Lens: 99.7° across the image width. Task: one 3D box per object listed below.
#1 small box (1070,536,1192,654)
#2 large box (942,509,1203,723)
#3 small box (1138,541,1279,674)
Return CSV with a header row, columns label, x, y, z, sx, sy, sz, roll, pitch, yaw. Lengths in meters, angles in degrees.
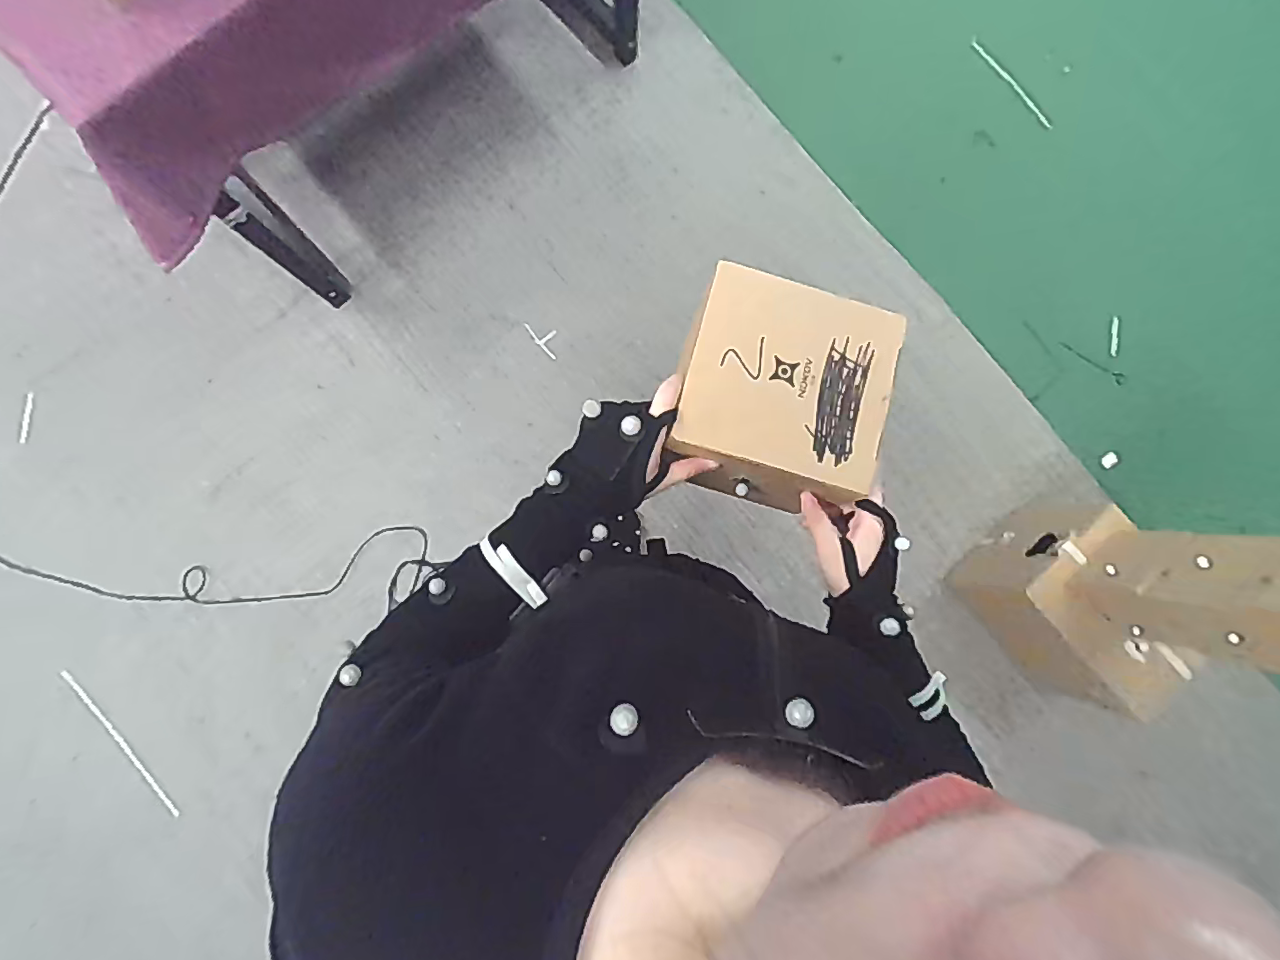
label,x,y,z,sx,sy,sz,roll,pitch,yaw
small box,1.080,0.237,1.156,0.179,0.176,0.168,-42,89,-6
large box,1.100,0.322,1.395,0.320,0.320,0.408,-41,89,-5
small box,1.092,0.228,0.993,0.179,0.176,0.168,44,85,0
